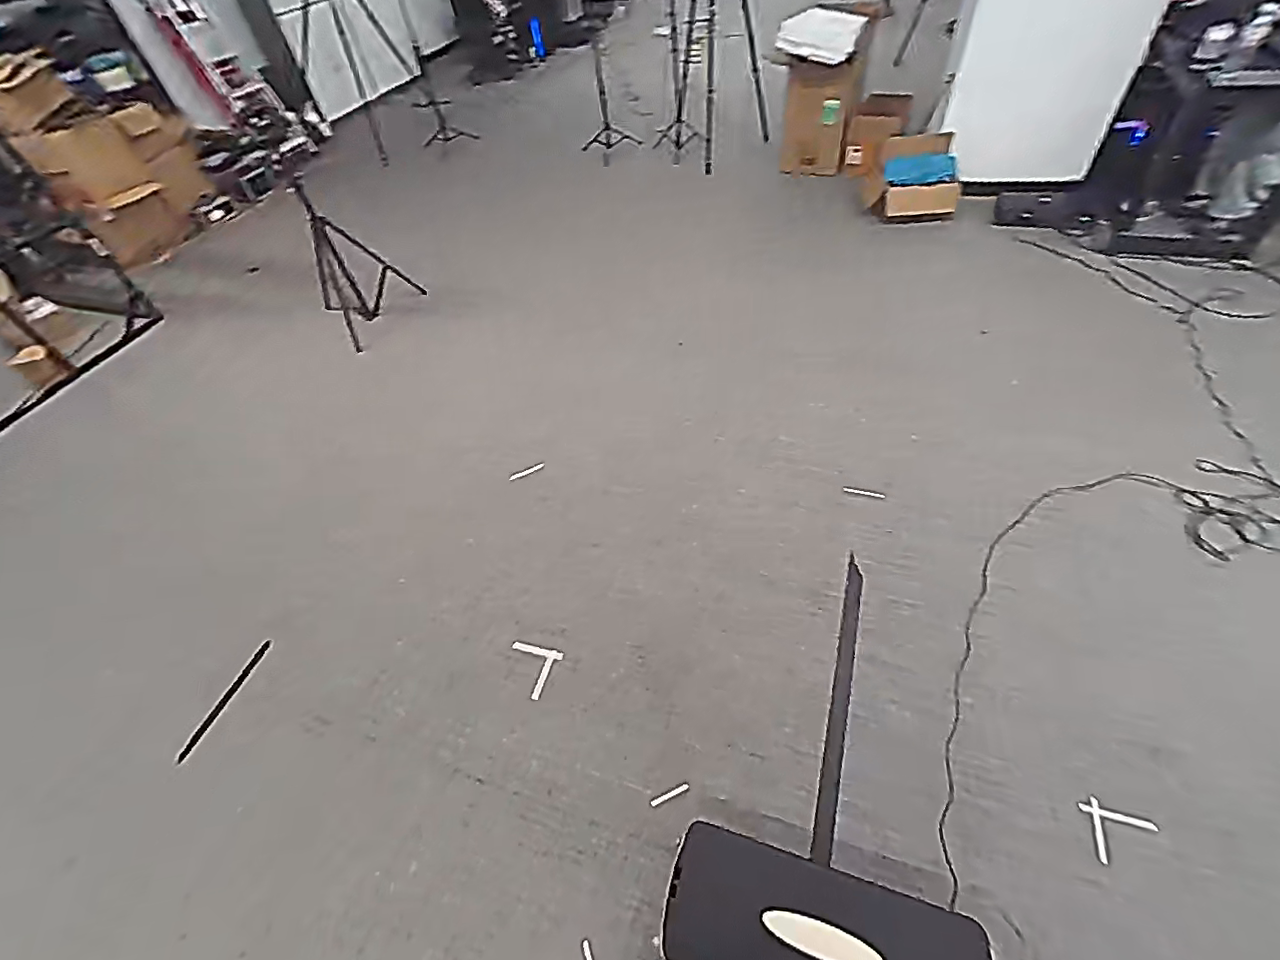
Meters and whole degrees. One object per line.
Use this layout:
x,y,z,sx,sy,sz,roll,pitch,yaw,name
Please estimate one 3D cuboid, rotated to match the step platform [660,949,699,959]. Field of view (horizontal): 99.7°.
0.316,1.162,0.990,0.684,0.204,0.286,9,51,17,step platform
